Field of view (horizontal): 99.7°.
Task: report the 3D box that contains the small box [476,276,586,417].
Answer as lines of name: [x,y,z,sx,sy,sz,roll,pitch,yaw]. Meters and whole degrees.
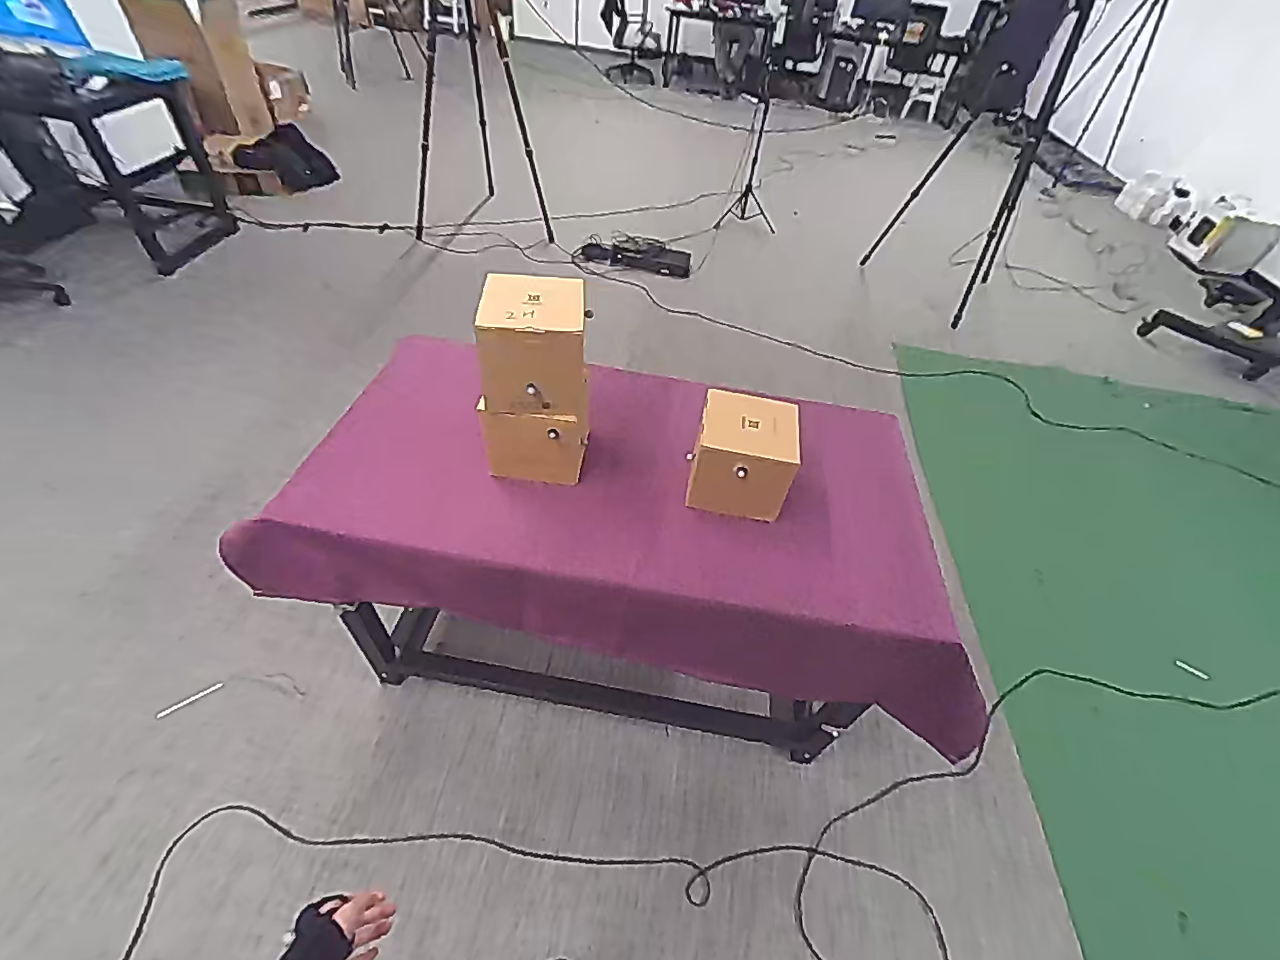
small box: [-0.181,-0.230,0.939,0.168,0.176,0.179,1,47,-6]

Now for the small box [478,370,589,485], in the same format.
small box: [-0.198,-0.109,1.051,0.179,0.176,0.168,7,46,-2]

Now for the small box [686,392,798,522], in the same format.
small box: [0.192,-0.041,1.036,0.179,0.176,0.168,12,47,3]
